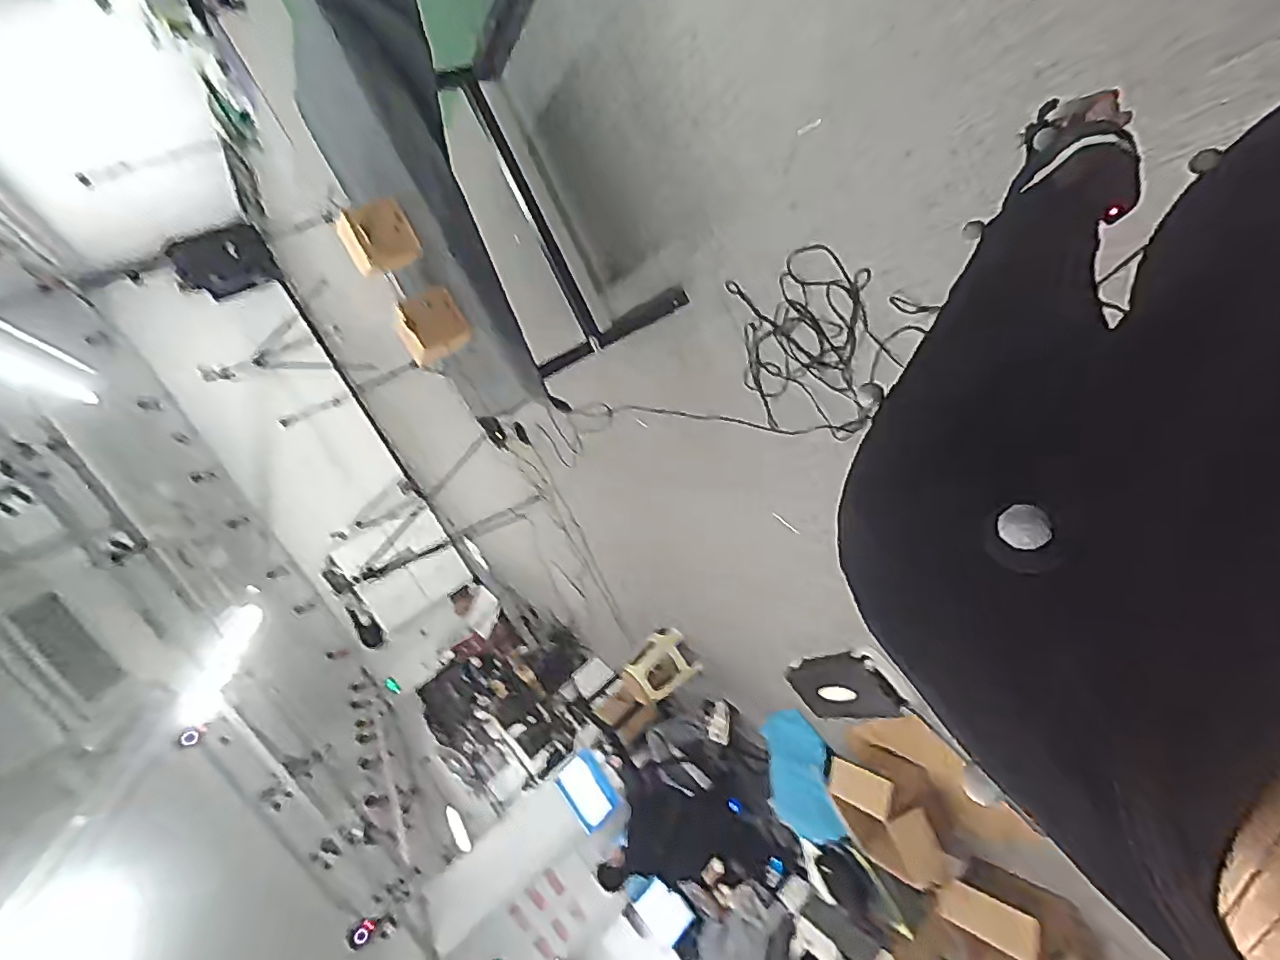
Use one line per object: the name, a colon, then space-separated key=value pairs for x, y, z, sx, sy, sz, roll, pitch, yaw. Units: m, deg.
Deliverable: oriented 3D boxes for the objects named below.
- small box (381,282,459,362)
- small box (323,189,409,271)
small box: x=-0.696 y=-0.502 z=1.714 sx=0.168 sy=0.176 sz=0.179 roll=61 pitch=154 yaw=-8
small box: x=-0.834 y=-0.760 z=1.652 sx=0.179 sy=0.176 sz=0.168 roll=9 pitch=128 yaw=55
